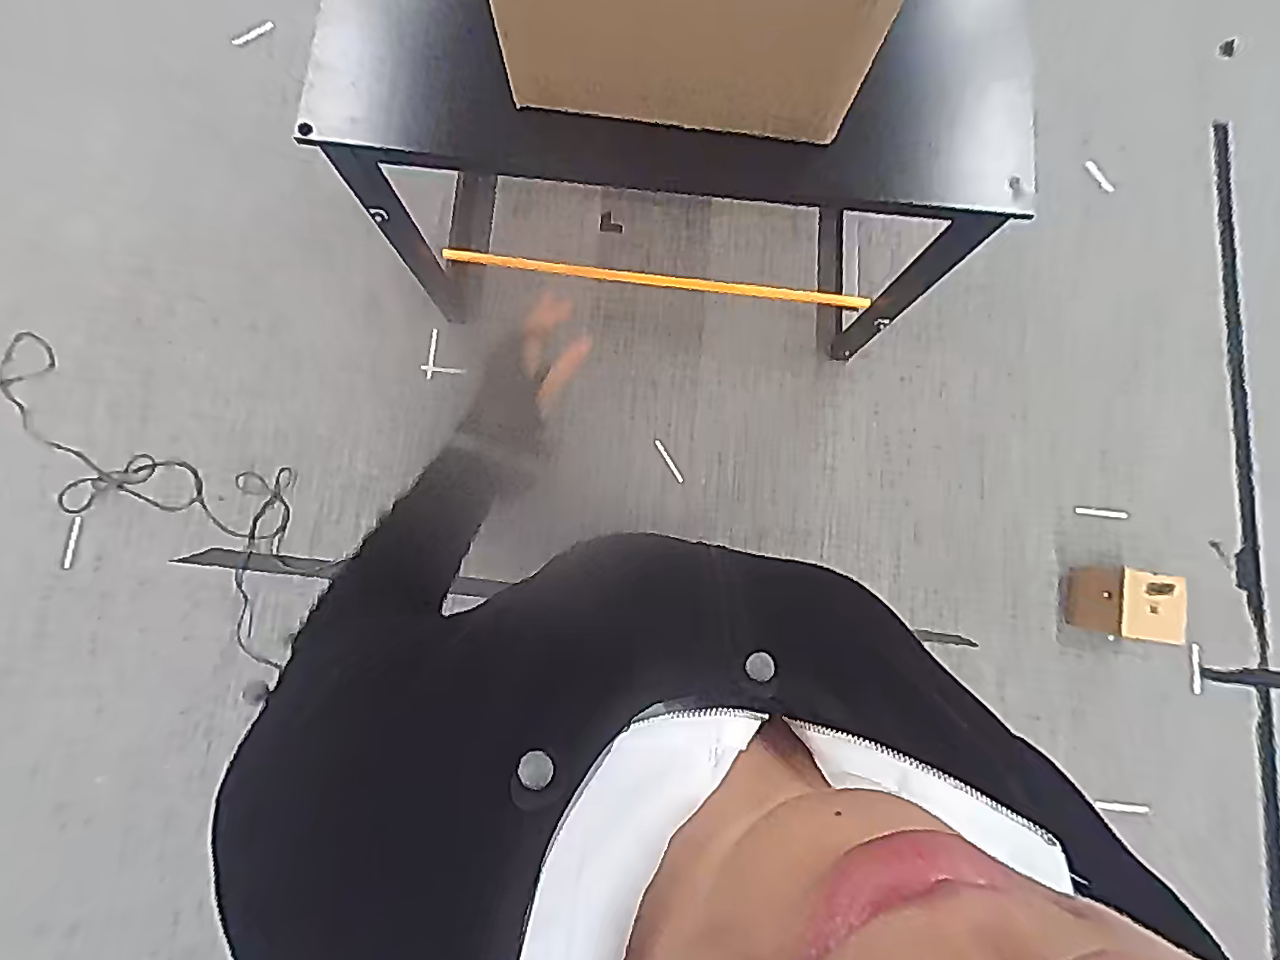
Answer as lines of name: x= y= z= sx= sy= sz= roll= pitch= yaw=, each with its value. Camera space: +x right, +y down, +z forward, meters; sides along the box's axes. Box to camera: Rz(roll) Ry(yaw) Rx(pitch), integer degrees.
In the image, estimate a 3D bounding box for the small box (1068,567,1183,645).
small box: x=1.305 y=0.334 z=1.462 sx=0.168 sy=0.176 sz=0.179 roll=9 pitch=83 yaw=-1
